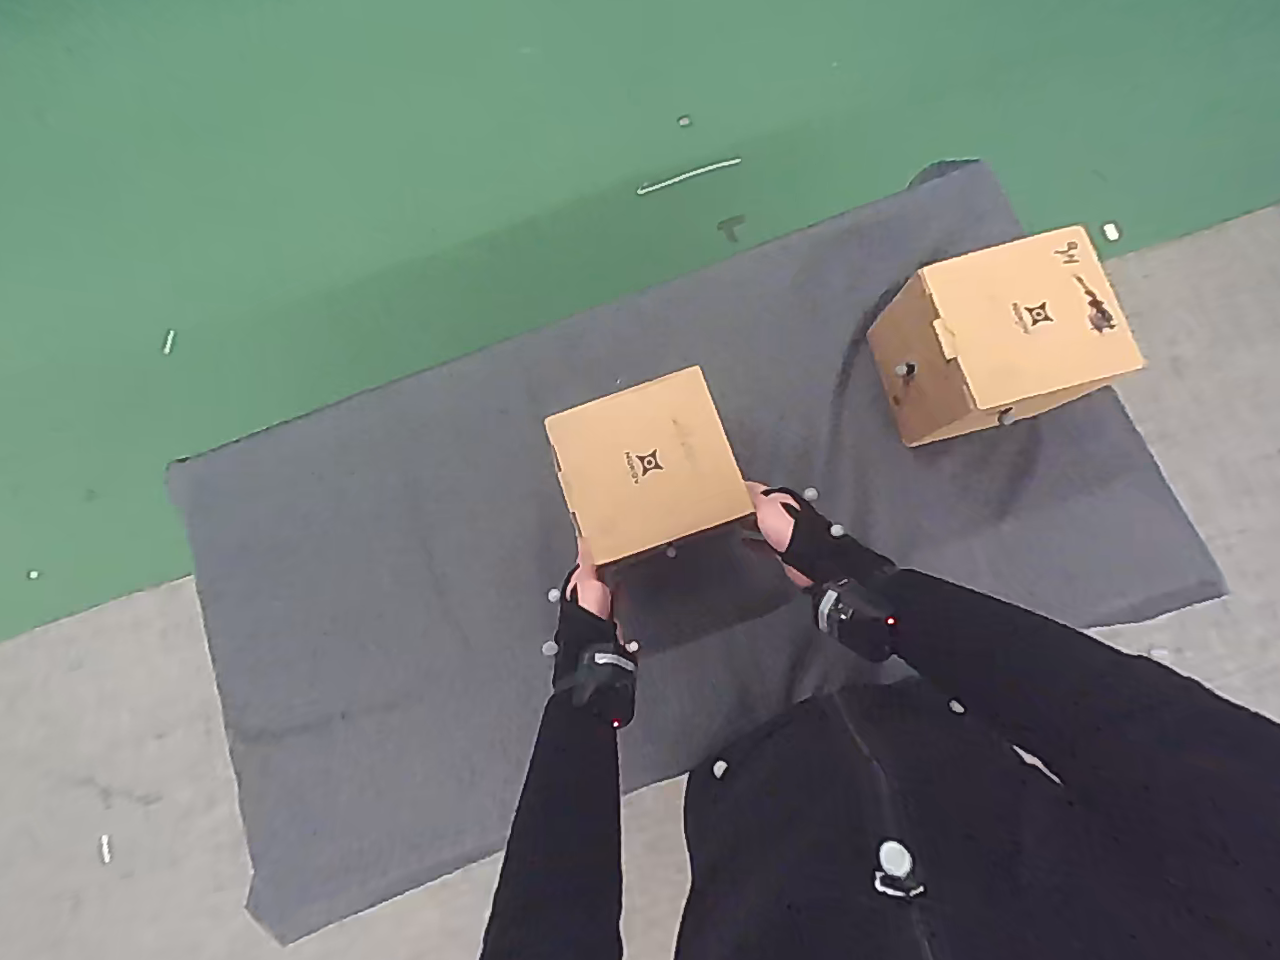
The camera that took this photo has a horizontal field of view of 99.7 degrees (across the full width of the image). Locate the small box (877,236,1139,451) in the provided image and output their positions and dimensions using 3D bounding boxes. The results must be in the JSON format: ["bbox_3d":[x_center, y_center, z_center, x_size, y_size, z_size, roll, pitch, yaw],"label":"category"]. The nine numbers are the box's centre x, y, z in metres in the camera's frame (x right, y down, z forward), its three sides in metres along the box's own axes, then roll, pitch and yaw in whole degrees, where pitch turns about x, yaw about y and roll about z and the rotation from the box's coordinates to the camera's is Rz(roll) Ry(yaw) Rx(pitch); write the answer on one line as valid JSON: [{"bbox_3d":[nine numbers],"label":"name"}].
[{"bbox_3d":[0.400,-0.144,0.632,0.179,0.176,0.168,-15,80,2],"label":"small box"}]
